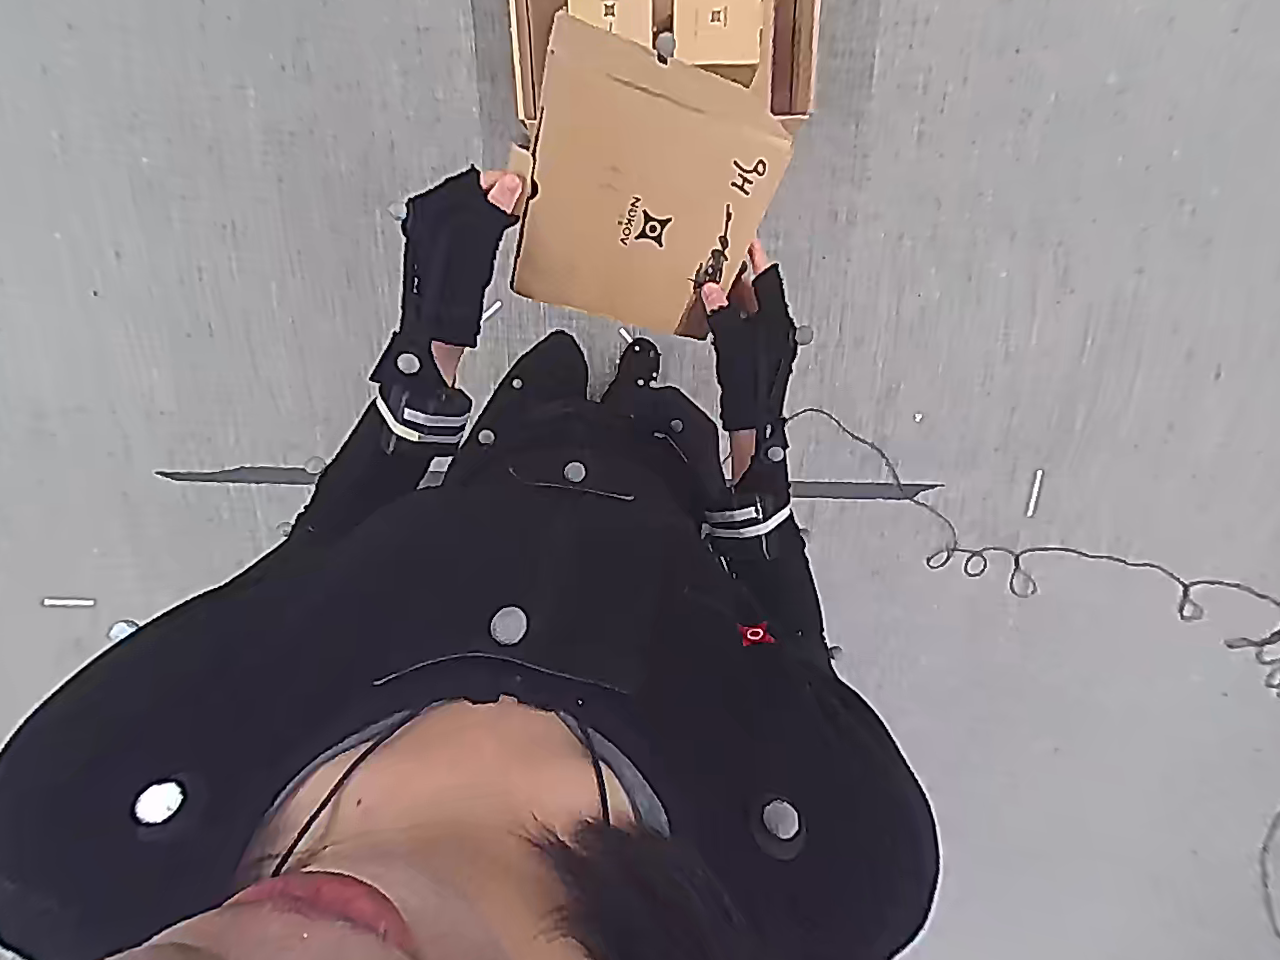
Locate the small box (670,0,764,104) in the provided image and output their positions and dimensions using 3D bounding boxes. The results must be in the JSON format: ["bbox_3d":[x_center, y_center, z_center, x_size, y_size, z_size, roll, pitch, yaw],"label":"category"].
[{"bbox_3d":[0.156,-0.921,1.141,0.179,0.176,0.168,1,106,1],"label":"small box"}]
